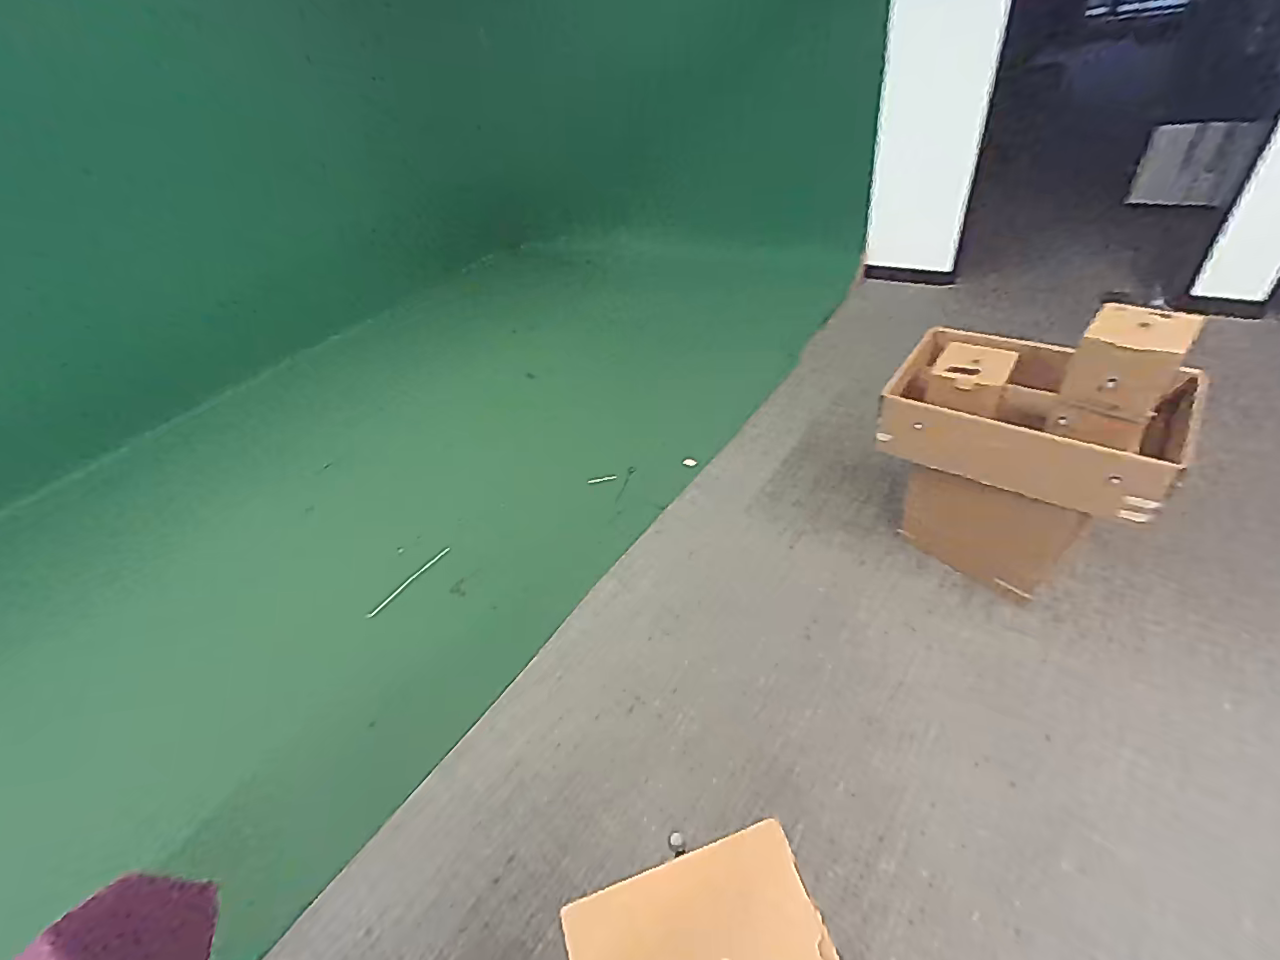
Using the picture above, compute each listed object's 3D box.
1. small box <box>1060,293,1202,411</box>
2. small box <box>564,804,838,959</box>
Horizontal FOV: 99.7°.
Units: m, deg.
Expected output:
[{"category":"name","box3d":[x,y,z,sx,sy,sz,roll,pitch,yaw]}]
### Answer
[{"category":"small box","box3d":[1.053,-0.277,1.175,0.168,0.176,0.179,29,59,37]},{"category":"small box","box3d":[0.057,0.385,0.430,0.179,0.176,0.168,-18,55,-6]}]
